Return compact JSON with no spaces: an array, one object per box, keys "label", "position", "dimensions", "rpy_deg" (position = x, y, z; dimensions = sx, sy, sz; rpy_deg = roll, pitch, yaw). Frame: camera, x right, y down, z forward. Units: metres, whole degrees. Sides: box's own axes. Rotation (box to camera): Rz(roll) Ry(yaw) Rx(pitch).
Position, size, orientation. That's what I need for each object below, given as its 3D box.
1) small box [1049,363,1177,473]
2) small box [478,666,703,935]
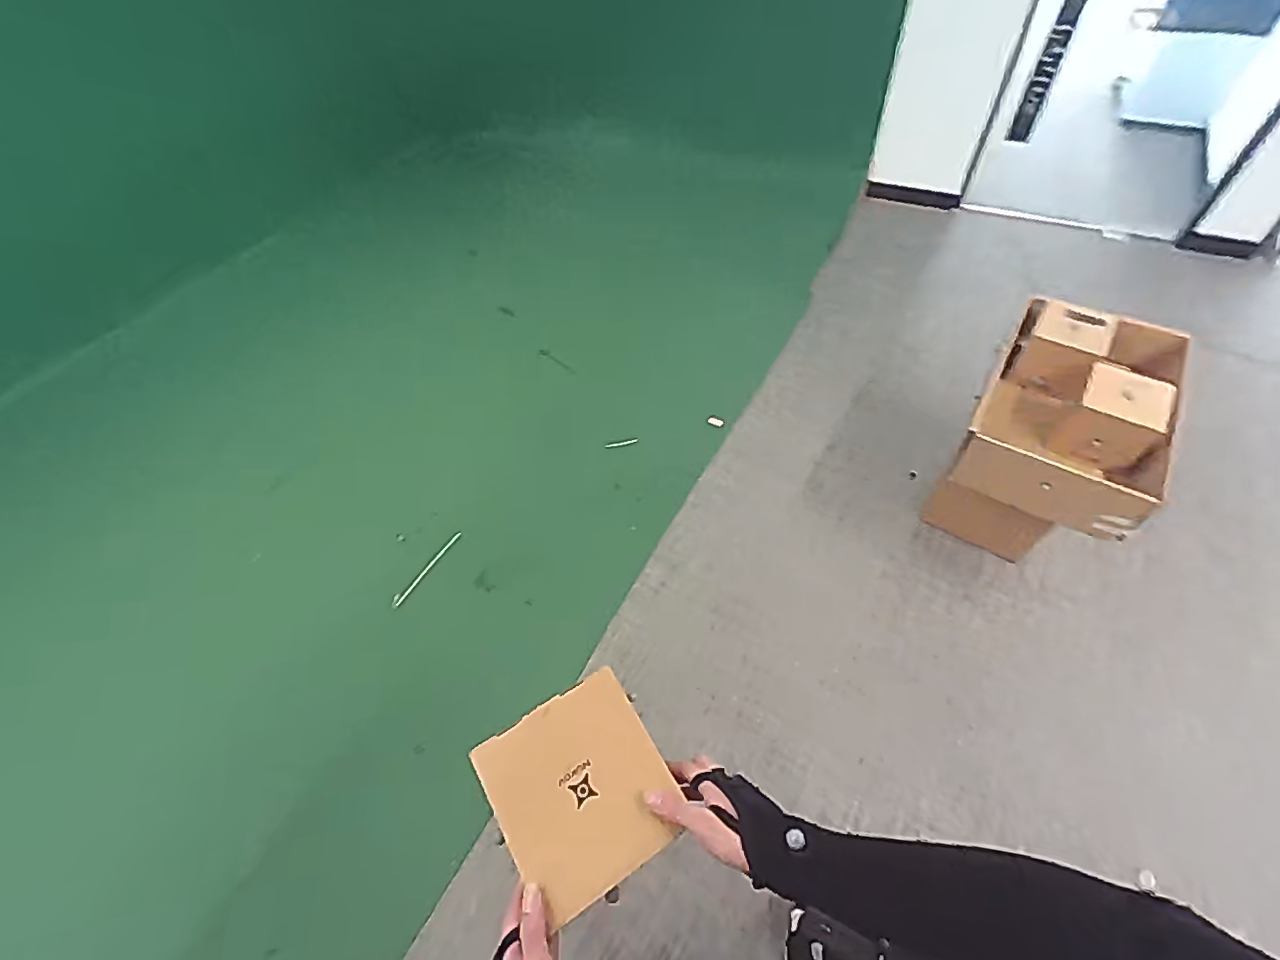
[{"label":"small box","position":[1.153,-0.148,1.330],"dimensions":[0.168,0.176,0.179],"rpy_deg":[29,62,22]},{"label":"small box","position":[-0.052,0.338,0.593],"dimensions":[0.168,0.176,0.179],"rpy_deg":[-27,62,-17]}]
